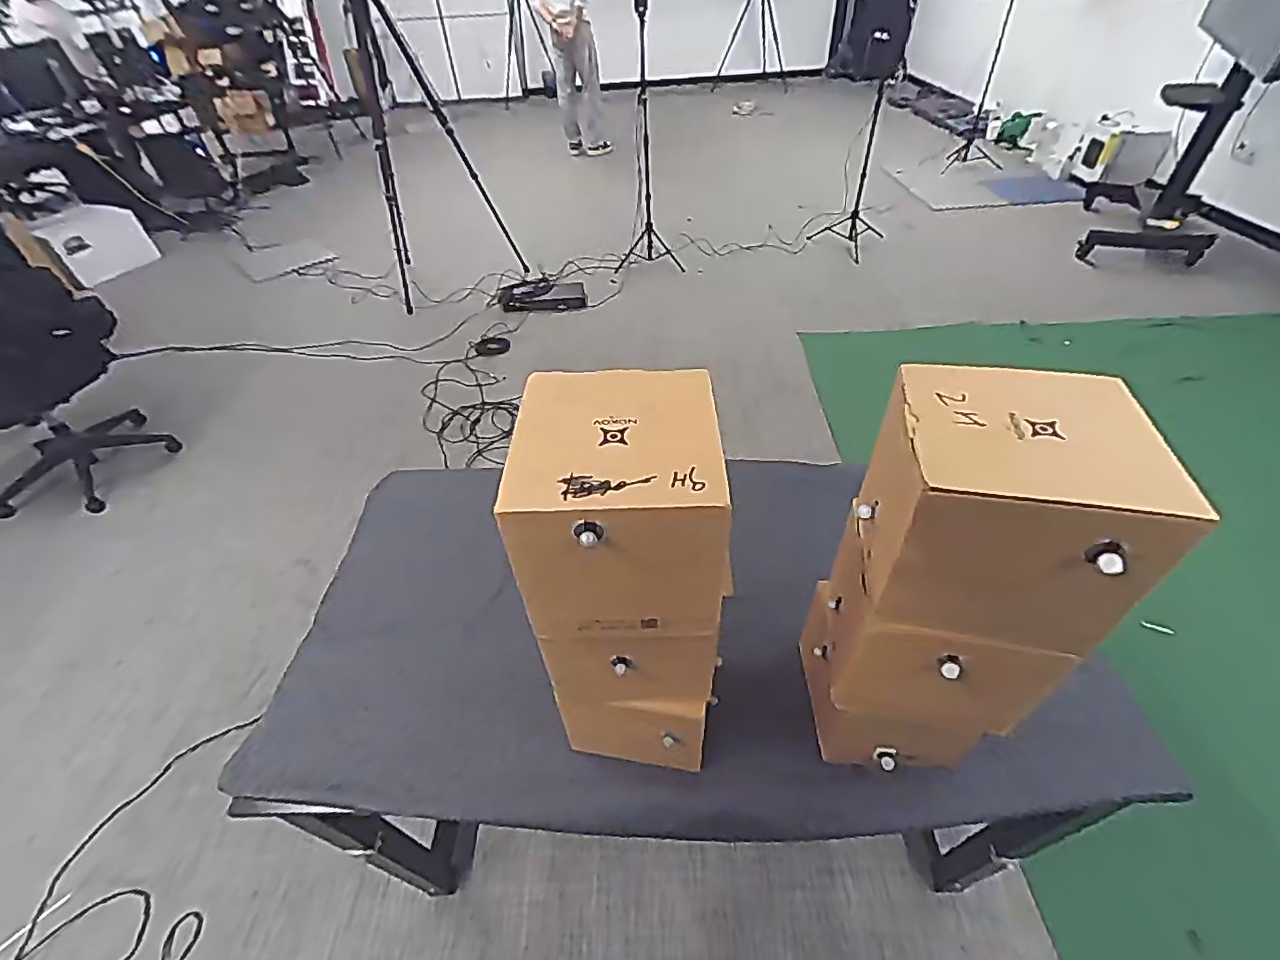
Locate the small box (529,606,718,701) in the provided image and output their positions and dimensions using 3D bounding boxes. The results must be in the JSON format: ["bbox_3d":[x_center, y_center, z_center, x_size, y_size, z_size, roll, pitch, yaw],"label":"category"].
[{"bbox_3d":[-0.010,0.133,0.607,0.179,0.176,0.168,-2,43,3],"label":"small box"}]

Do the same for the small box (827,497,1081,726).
[{"bbox_3d":[0.307,0.141,0.577,0.179,0.176,0.168,5,44,12],"label":"small box"}]

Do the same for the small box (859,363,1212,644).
[{"bbox_3d":[0.300,0.020,0.465,0.179,0.176,0.168,6,44,13],"label":"small box"}]

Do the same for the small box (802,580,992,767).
[{"bbox_3d":[0.316,0.248,0.699,0.168,0.176,0.179,-2,44,4],"label":"small box"}]

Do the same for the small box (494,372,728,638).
[{"bbox_3d":[-0.017,0.021,0.487,0.168,0.176,0.179,-2,43,2],"label":"small box"}]
